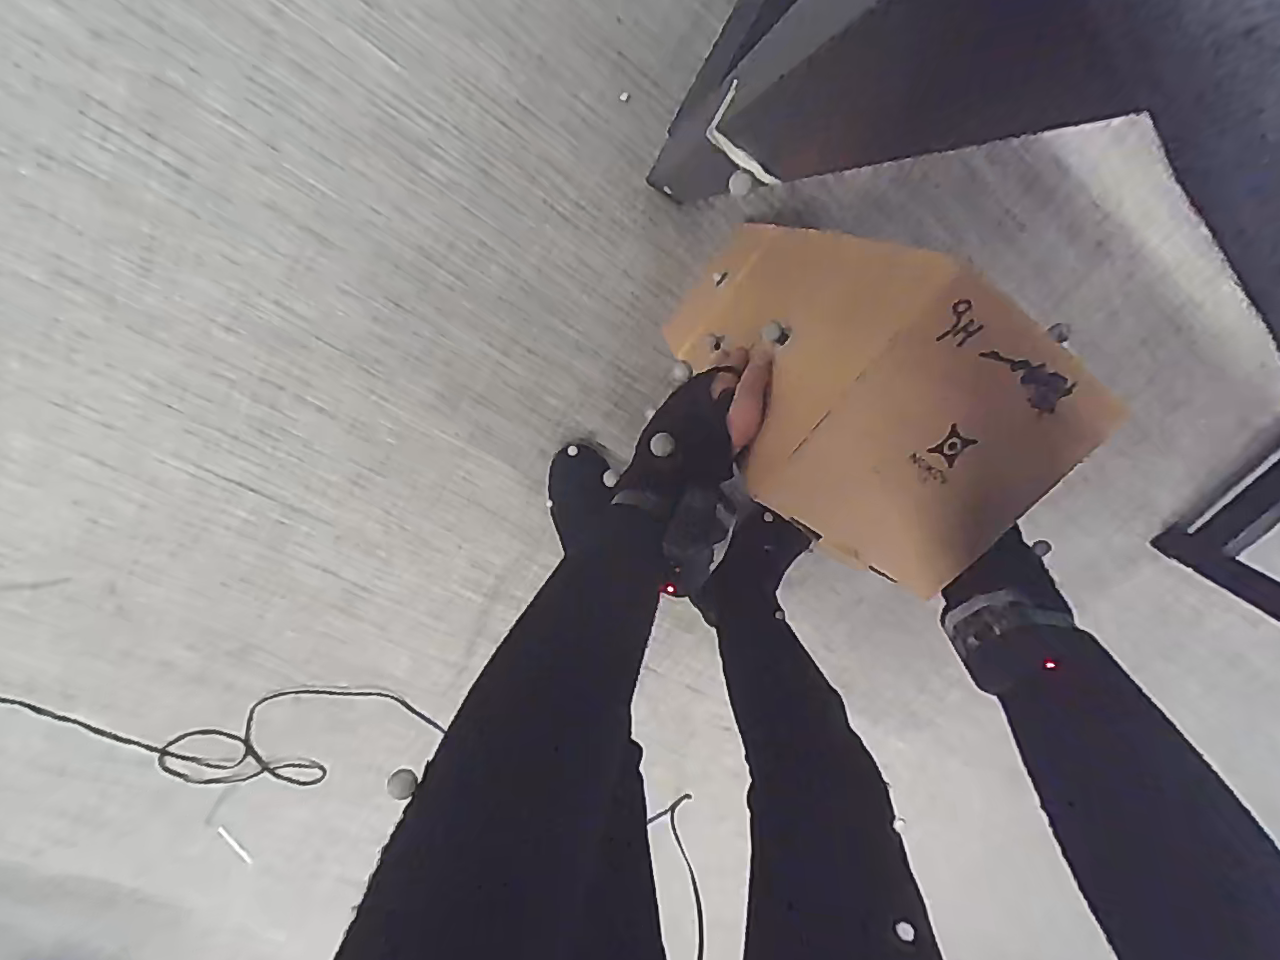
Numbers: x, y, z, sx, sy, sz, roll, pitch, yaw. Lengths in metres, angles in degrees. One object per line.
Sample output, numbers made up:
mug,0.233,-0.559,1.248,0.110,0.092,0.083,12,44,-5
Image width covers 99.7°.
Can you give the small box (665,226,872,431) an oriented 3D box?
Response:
small box,0.147,-0.200,0.690,0.168,0.176,0.179,32,110,-18
